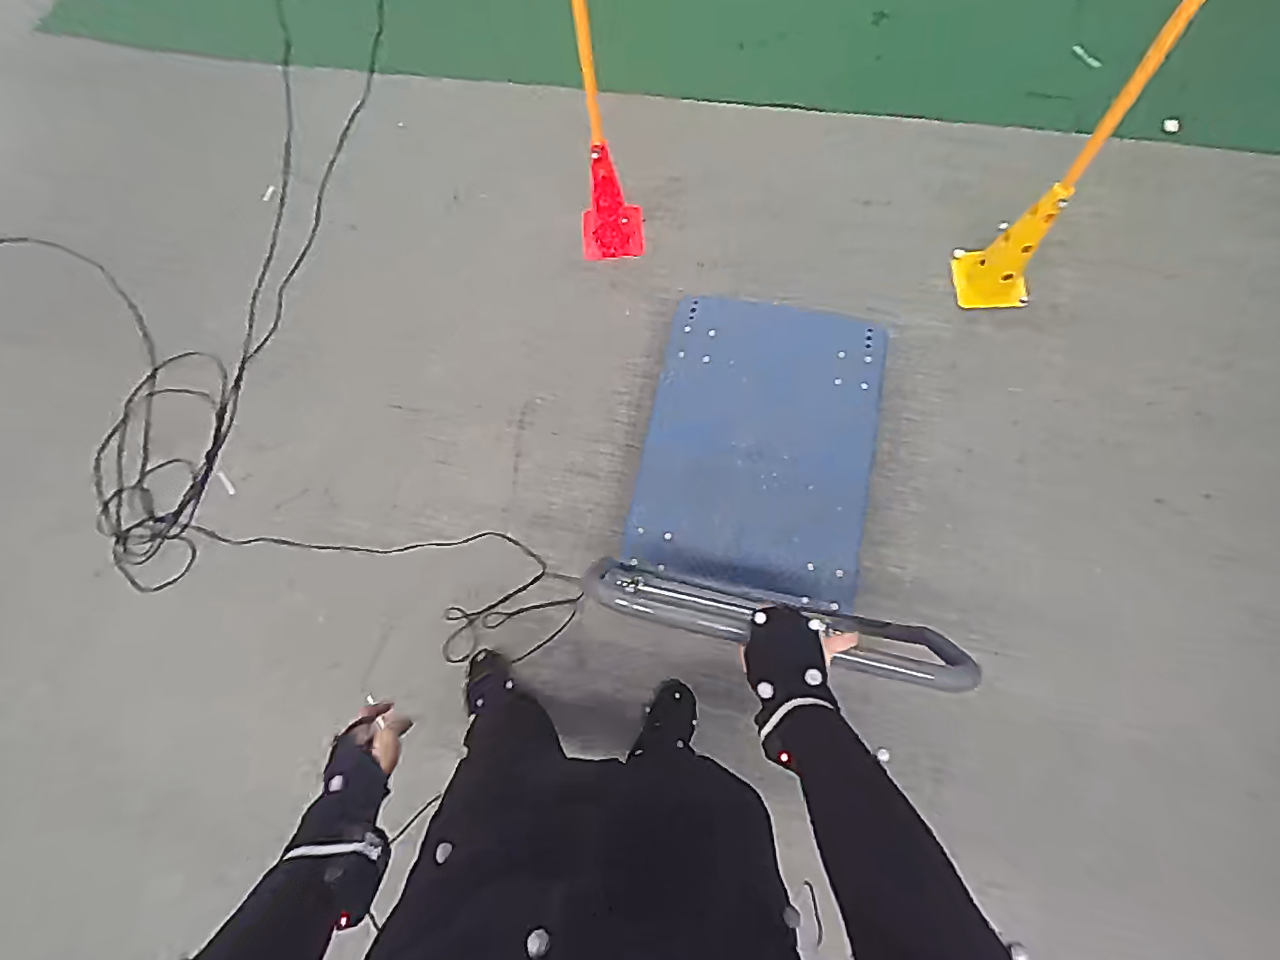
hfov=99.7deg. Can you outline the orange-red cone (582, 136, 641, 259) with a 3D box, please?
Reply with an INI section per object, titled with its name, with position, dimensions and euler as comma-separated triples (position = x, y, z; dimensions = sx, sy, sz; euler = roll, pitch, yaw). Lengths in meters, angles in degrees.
[orange-red cone]
position = -0.110, -0.871, 1.635
dimensions = 0.199, 0.360, 0.198
euler = -4, 73, 5
